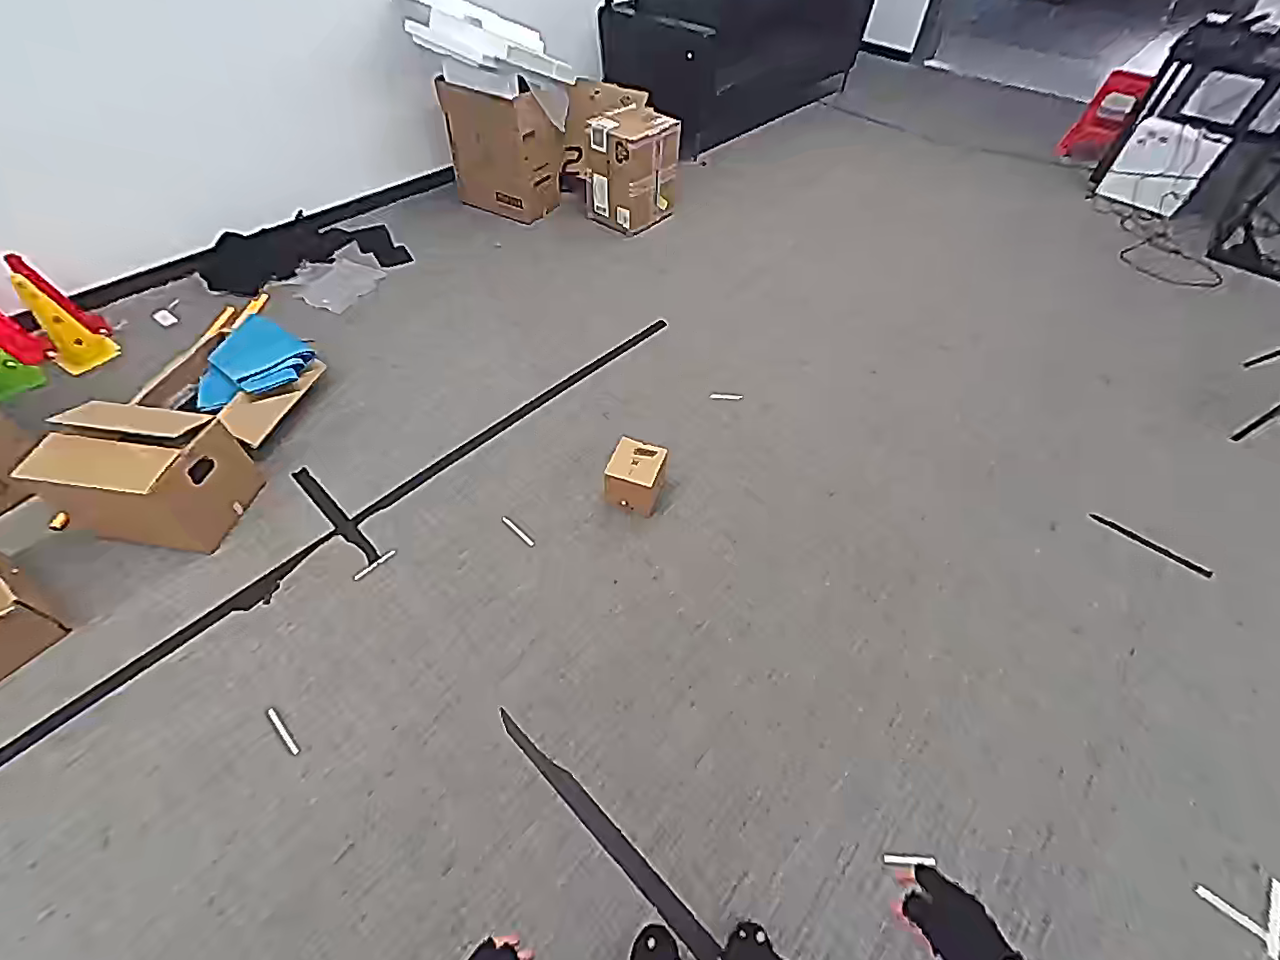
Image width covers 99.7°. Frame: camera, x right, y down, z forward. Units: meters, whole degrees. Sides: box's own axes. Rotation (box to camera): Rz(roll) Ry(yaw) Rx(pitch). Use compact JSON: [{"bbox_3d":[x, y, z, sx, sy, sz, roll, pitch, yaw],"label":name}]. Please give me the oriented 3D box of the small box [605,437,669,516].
[{"bbox_3d":[-0.012,-0.010,1.834,0.168,0.176,0.179,17,53,12],"label":"small box"}]
